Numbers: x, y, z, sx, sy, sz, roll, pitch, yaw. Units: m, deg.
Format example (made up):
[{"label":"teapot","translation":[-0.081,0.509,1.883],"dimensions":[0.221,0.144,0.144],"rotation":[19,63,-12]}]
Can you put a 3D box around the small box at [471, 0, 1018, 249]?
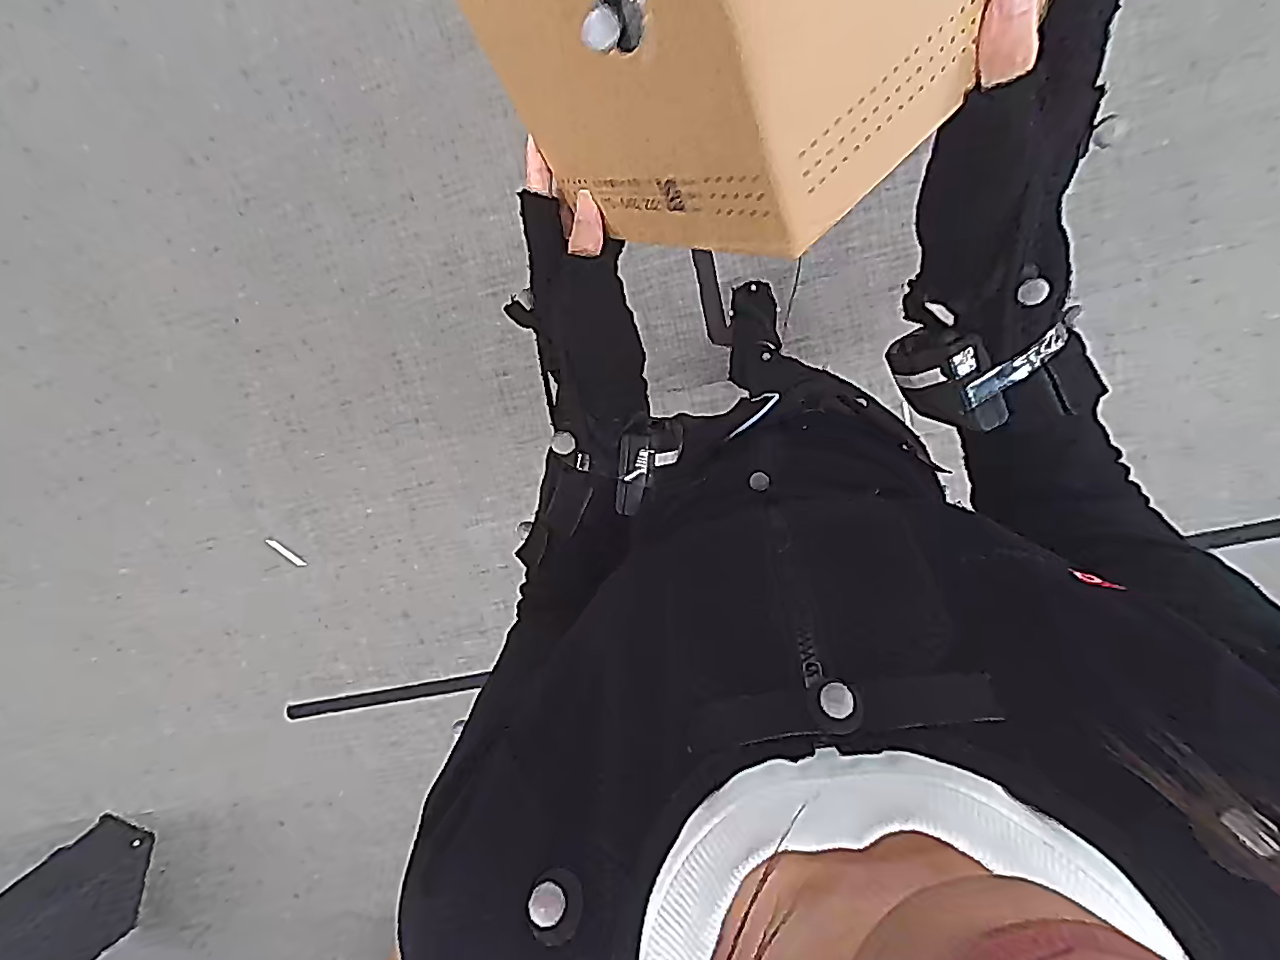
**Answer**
[{"label":"small box","translation":[0.040,-0.228,0.238],"dimensions":[0.179,0.168,0.176],"rotation":[-43,132,-8]}]
